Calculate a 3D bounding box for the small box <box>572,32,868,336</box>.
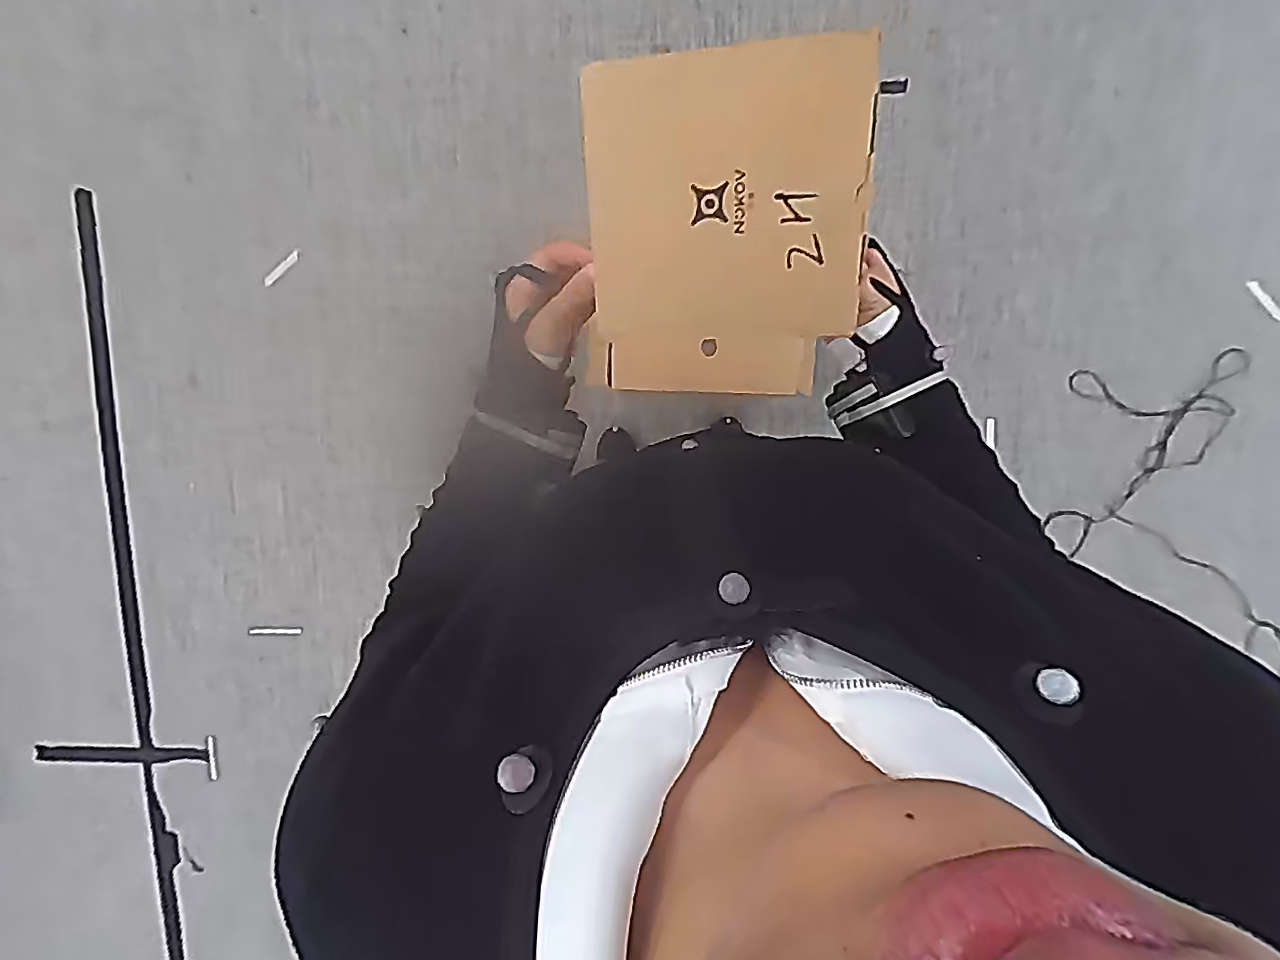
[{"bbox_3d":[0.060,-0.204,0.418,0.179,0.176,0.168,0,111,10],"label":"small box"}]
